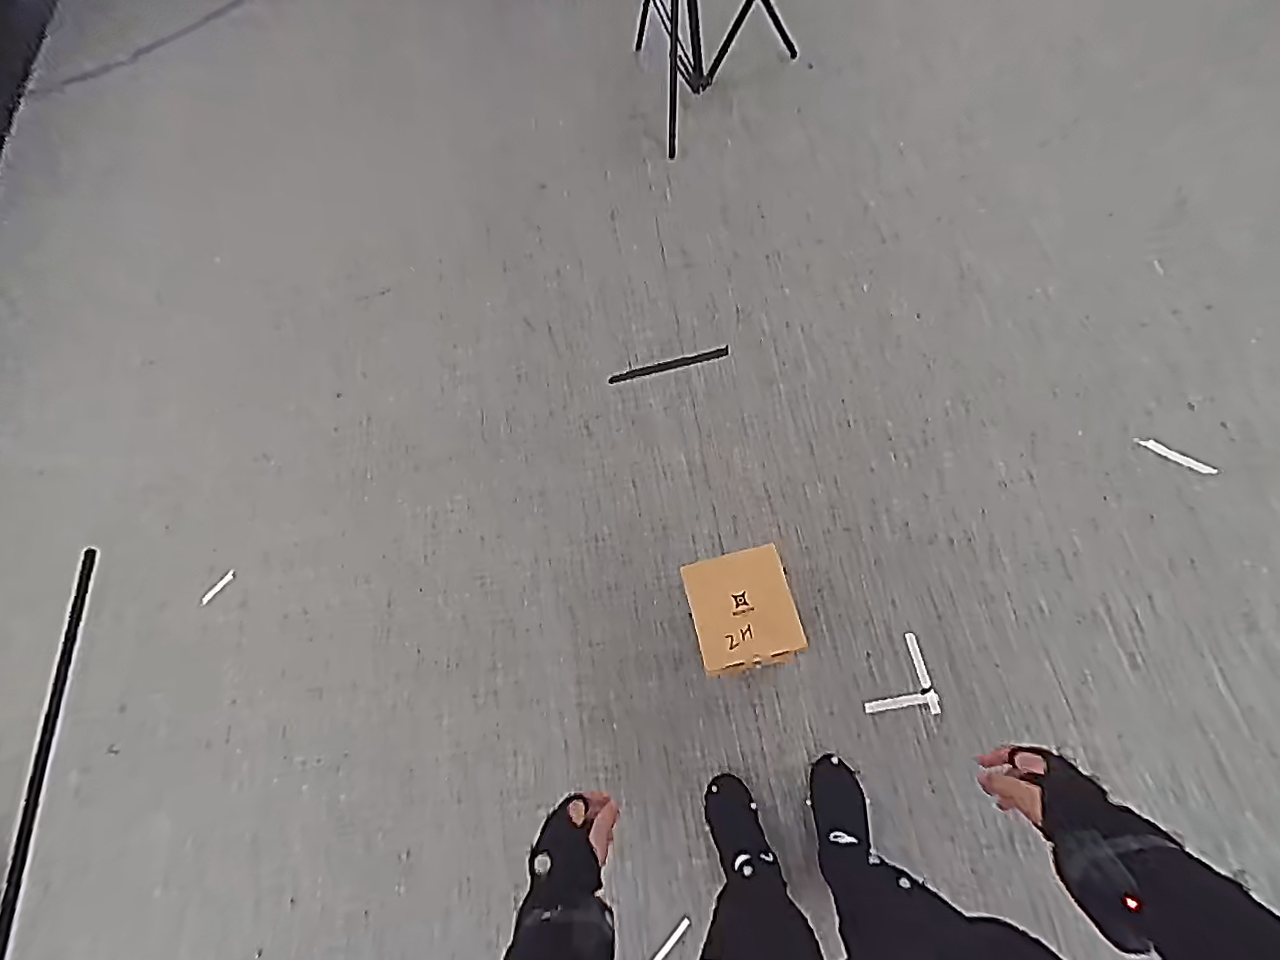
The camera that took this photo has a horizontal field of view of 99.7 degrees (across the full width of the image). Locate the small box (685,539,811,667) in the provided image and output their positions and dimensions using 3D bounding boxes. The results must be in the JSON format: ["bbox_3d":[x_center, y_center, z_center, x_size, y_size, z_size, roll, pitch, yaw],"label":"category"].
[{"bbox_3d":[0.184,0.222,0.948,0.168,0.176,0.179,-16,70,6],"label":"small box"}]

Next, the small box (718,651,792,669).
[{"bbox_3d":[0.242,0.336,1.252,0.168,0.176,0.179,-13,69,7],"label":"small box"}]
